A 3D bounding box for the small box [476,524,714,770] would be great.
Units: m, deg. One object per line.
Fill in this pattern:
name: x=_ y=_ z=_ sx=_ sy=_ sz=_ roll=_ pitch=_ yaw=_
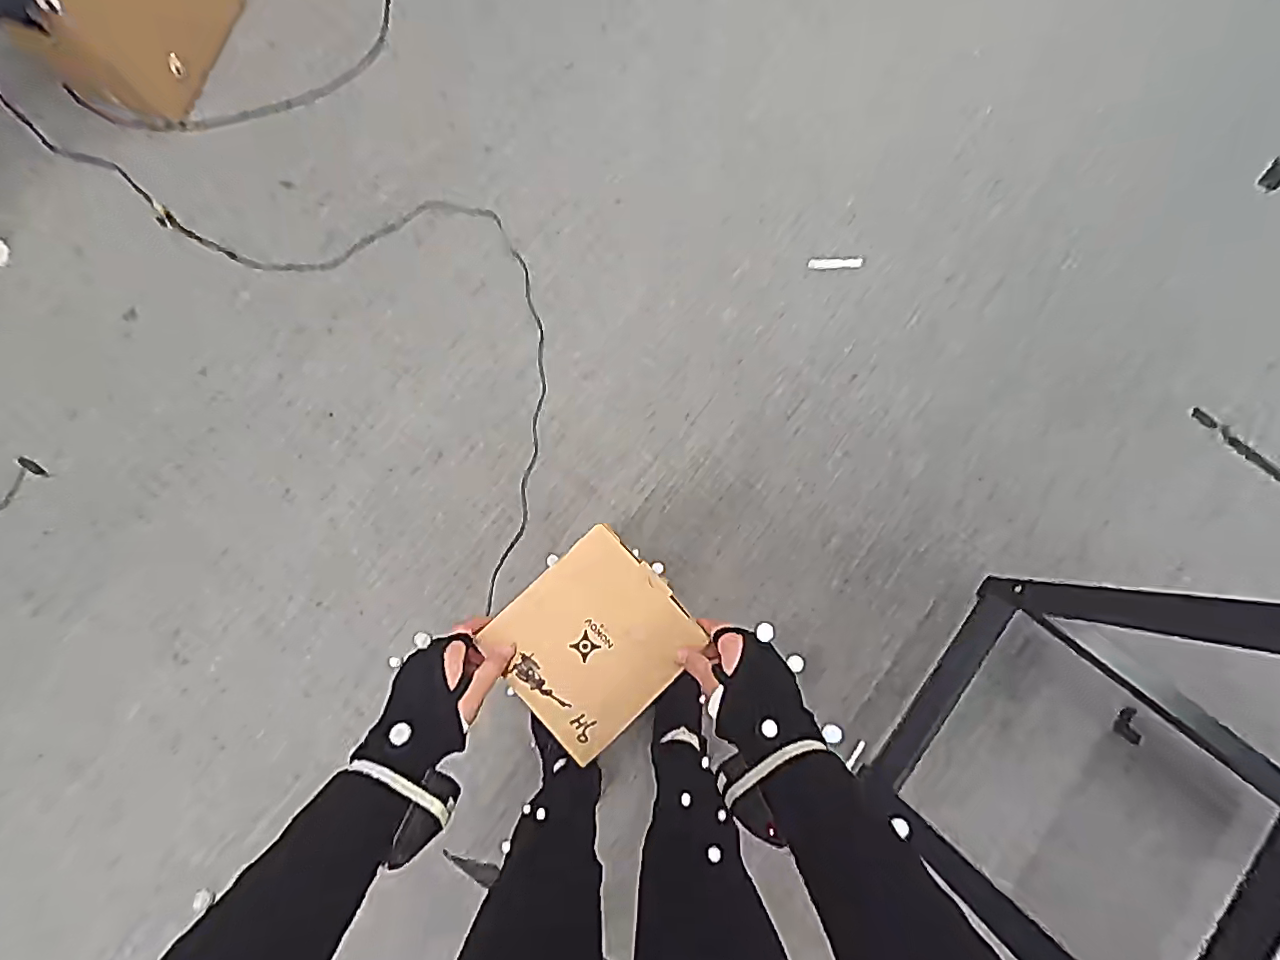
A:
small box: x=-0.047 y=0.168 z=0.601 sx=0.179 sy=0.176 sz=0.168 roll=-43 pitch=86 yaw=-7
